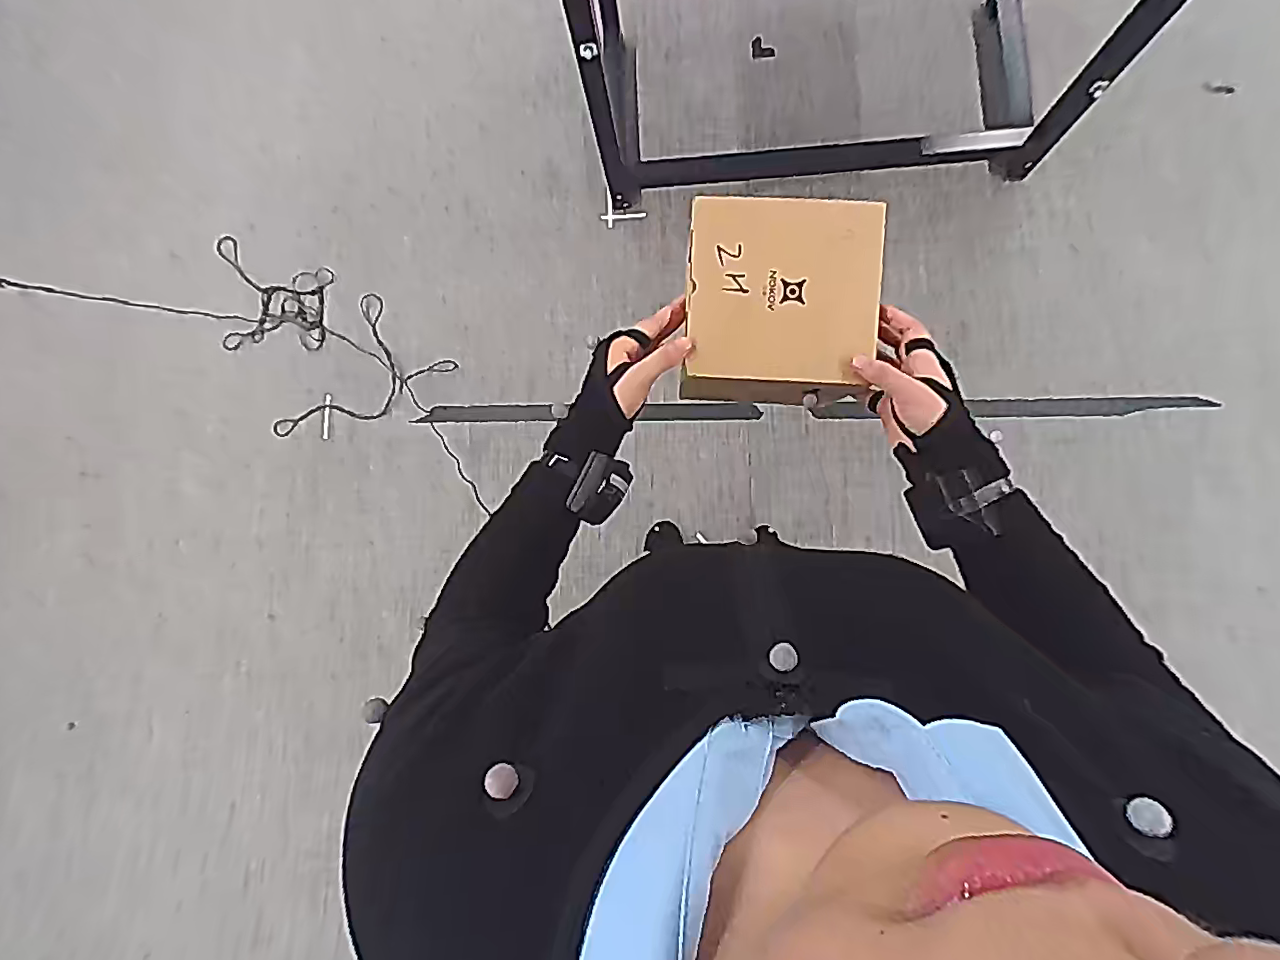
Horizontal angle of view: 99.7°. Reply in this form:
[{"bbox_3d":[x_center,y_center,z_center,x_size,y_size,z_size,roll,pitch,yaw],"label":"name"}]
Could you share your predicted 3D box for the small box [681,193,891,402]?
[{"bbox_3d":[0.138,-0.177,0.570,0.179,0.176,0.168,3,91,3],"label":"small box"}]
